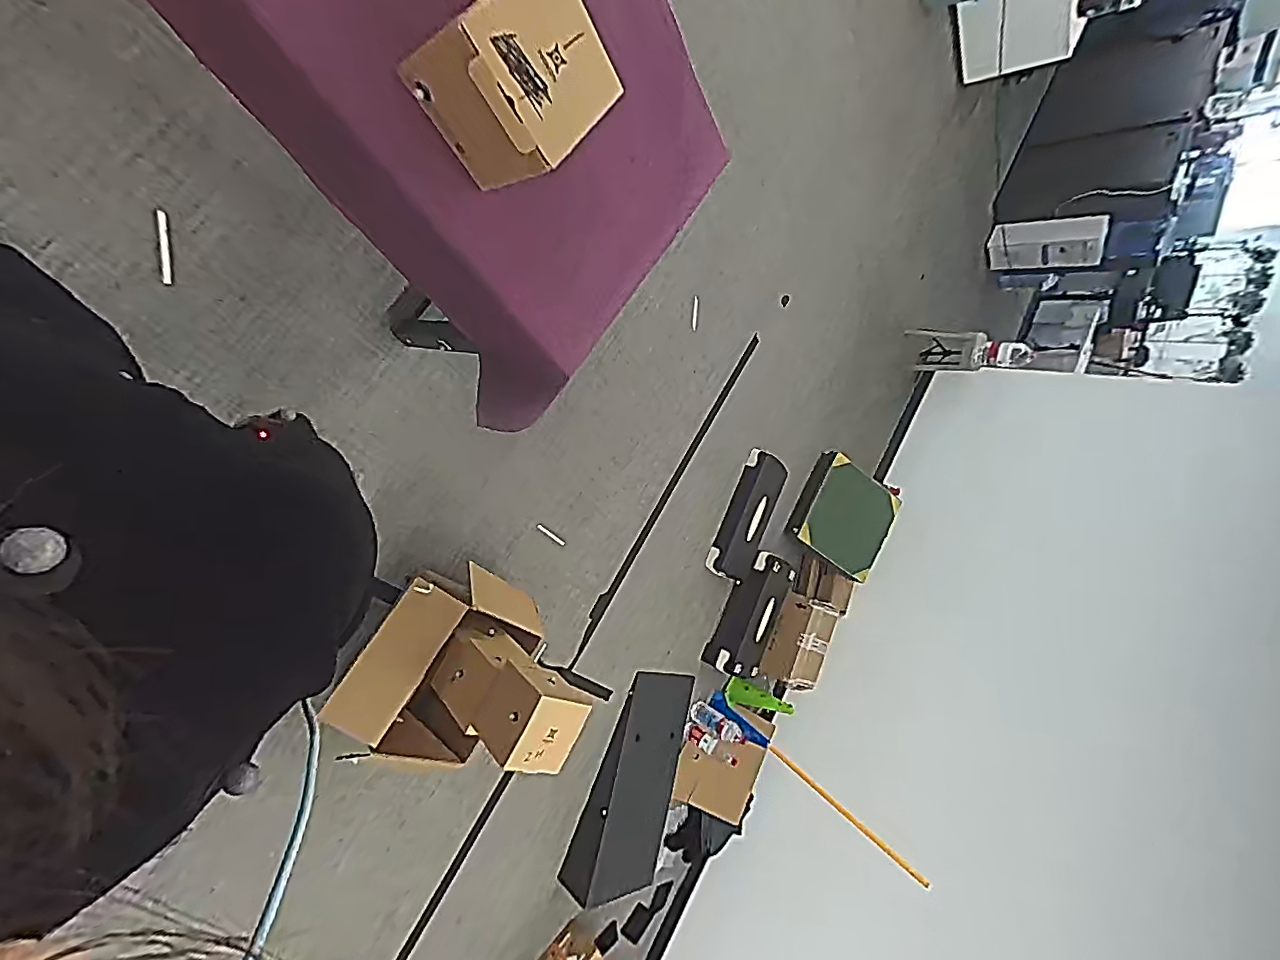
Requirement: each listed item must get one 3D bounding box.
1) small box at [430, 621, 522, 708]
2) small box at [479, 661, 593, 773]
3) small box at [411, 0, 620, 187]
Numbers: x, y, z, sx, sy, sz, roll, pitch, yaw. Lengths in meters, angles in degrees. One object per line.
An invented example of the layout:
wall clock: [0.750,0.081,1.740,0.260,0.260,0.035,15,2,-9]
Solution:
small box: [-0.465,0.508,1.517,0.168,0.176,0.179,16,94,-44]
small box: [-0.249,0.551,1.270,0.168,0.176,0.179,35,81,-42]
small box: [-0.165,-0.511,0.697,0.179,0.176,0.168,-57,135,-18]
